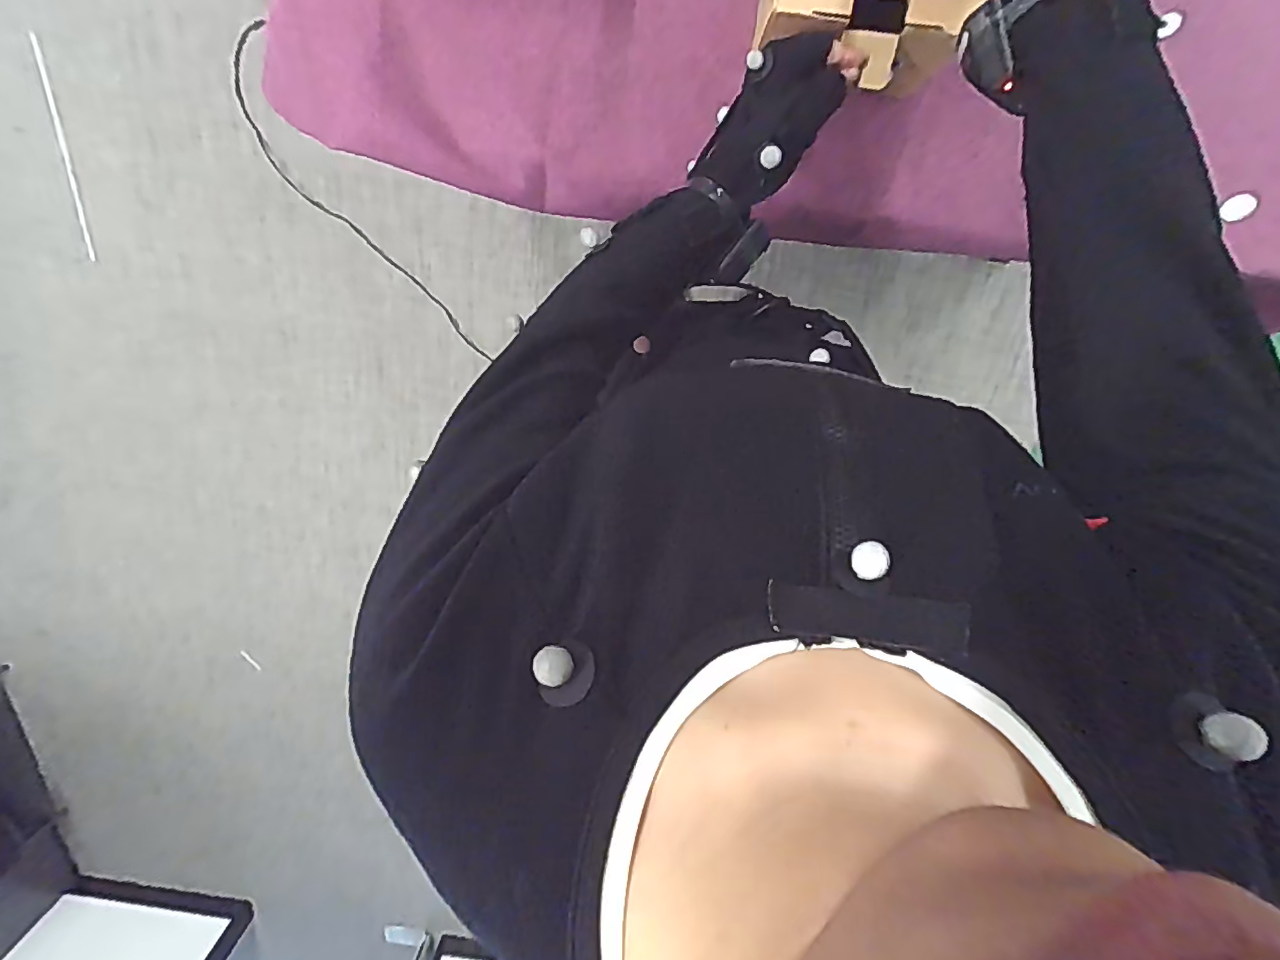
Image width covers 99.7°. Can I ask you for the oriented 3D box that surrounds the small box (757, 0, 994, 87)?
[{"bbox_3d":[0.200,-0.461,0.455,0.168,0.176,0.179,8,112,1],"label":"small box"}]
